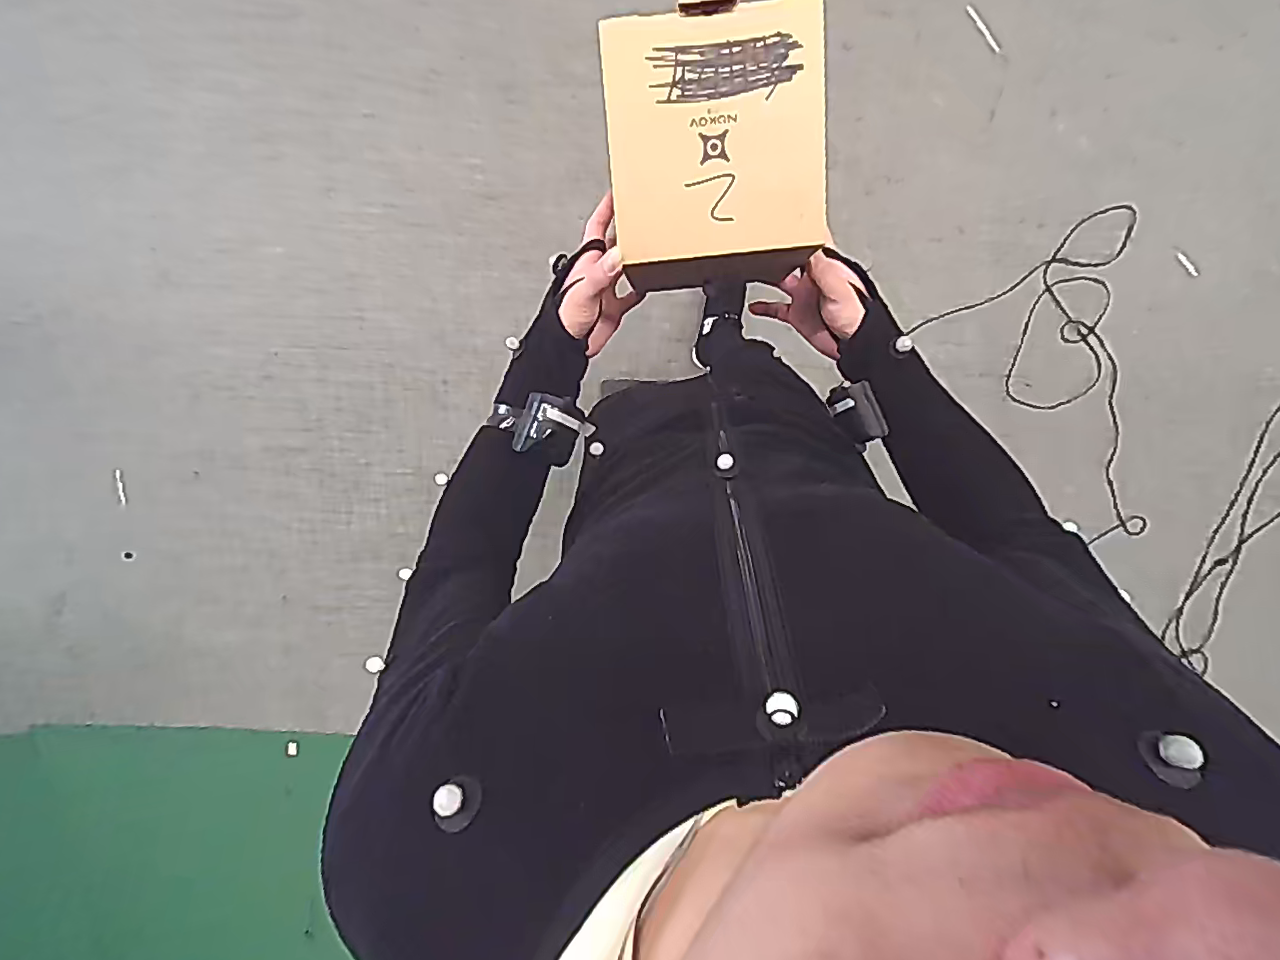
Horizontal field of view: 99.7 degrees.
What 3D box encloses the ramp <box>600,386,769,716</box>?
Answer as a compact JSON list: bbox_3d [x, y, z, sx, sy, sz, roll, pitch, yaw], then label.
[{"bbox_3d":[0.129,0.220,1.633,0.509,0.206,0.991,0,103,1],"label":"ramp"}]
